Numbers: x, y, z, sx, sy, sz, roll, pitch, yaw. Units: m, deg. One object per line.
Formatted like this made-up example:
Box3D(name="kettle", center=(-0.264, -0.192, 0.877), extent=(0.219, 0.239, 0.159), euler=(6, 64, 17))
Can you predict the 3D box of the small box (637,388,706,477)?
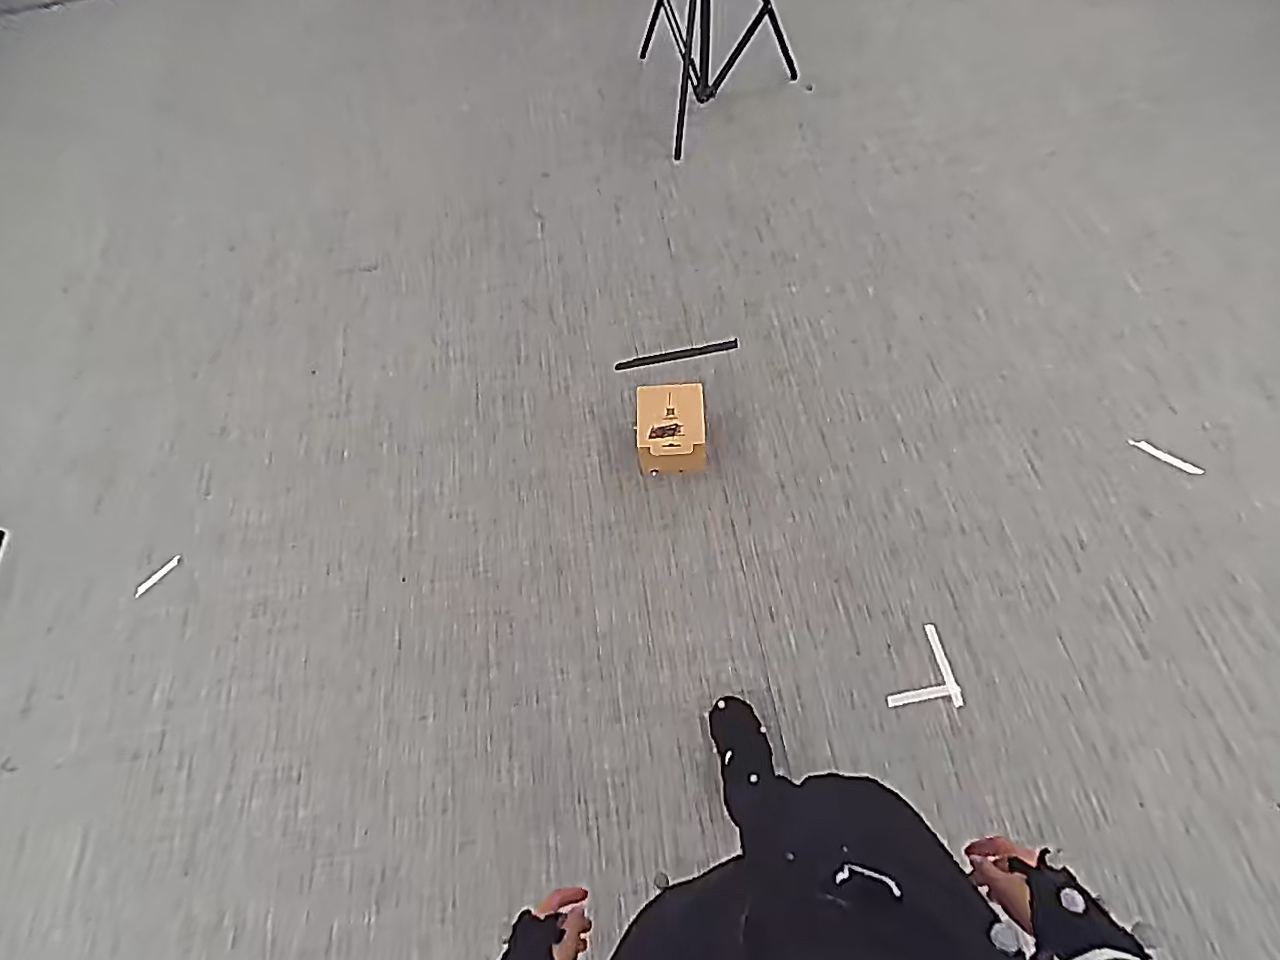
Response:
Box3D(name="small box", center=(0.083, -0.113, 1.389), extent=(0.168, 0.176, 0.179), euler=(-3, 66, 5))
